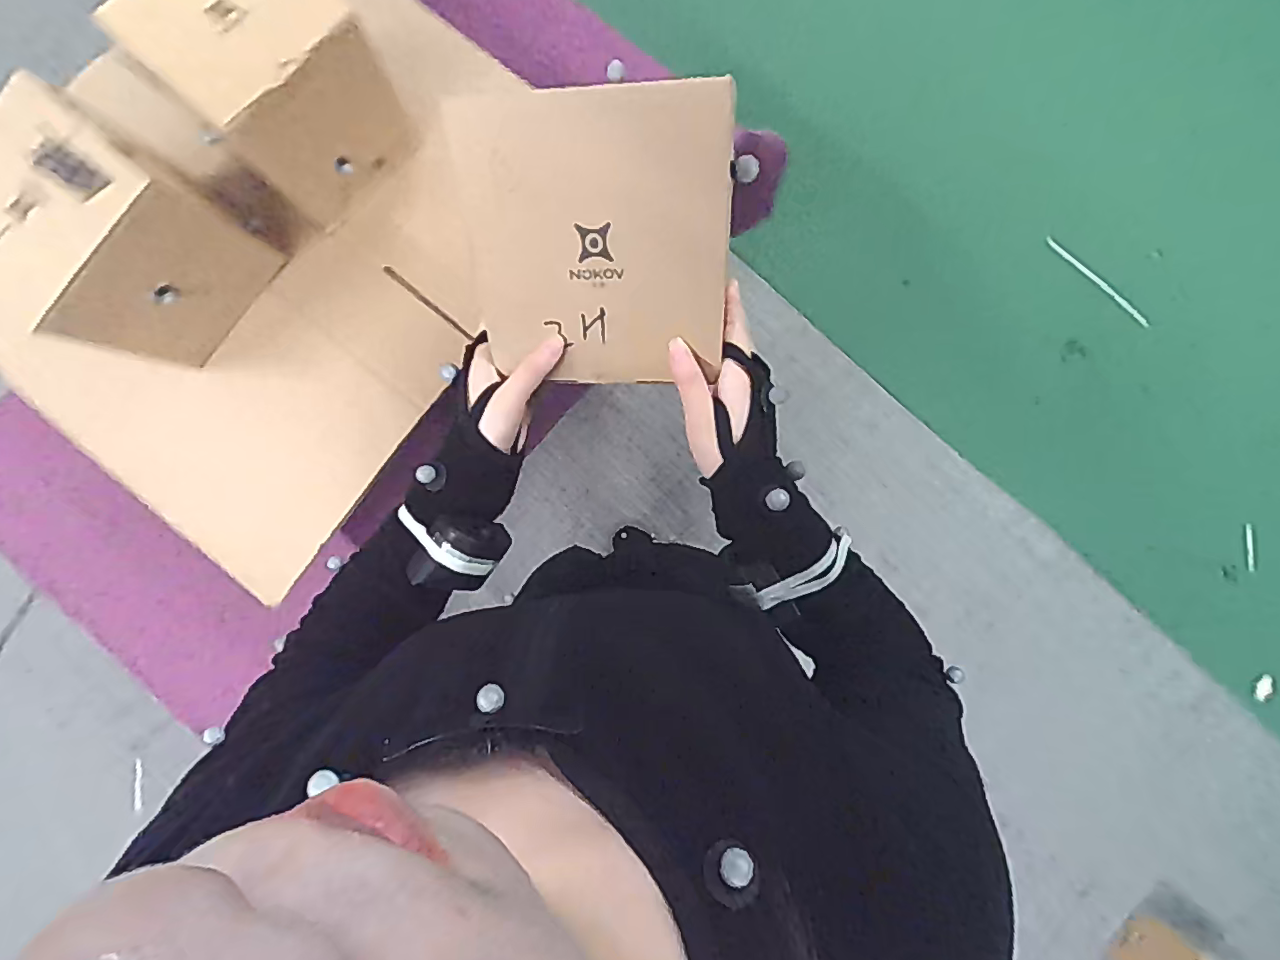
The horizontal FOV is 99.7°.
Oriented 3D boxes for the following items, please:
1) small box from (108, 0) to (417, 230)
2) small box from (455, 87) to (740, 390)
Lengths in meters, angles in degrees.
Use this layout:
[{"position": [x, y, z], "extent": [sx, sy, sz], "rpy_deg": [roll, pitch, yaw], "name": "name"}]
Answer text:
[{"position": [-0.386, -0.418, 0.589], "extent": [0.179, 0.176, 0.168], "rpy_deg": [41, 84, 3], "name": "small box"}, {"position": [-0.013, -0.185, 0.412], "extent": [0.168, 0.176, 0.179], "rpy_deg": [4, 125, 10], "name": "small box"}]
